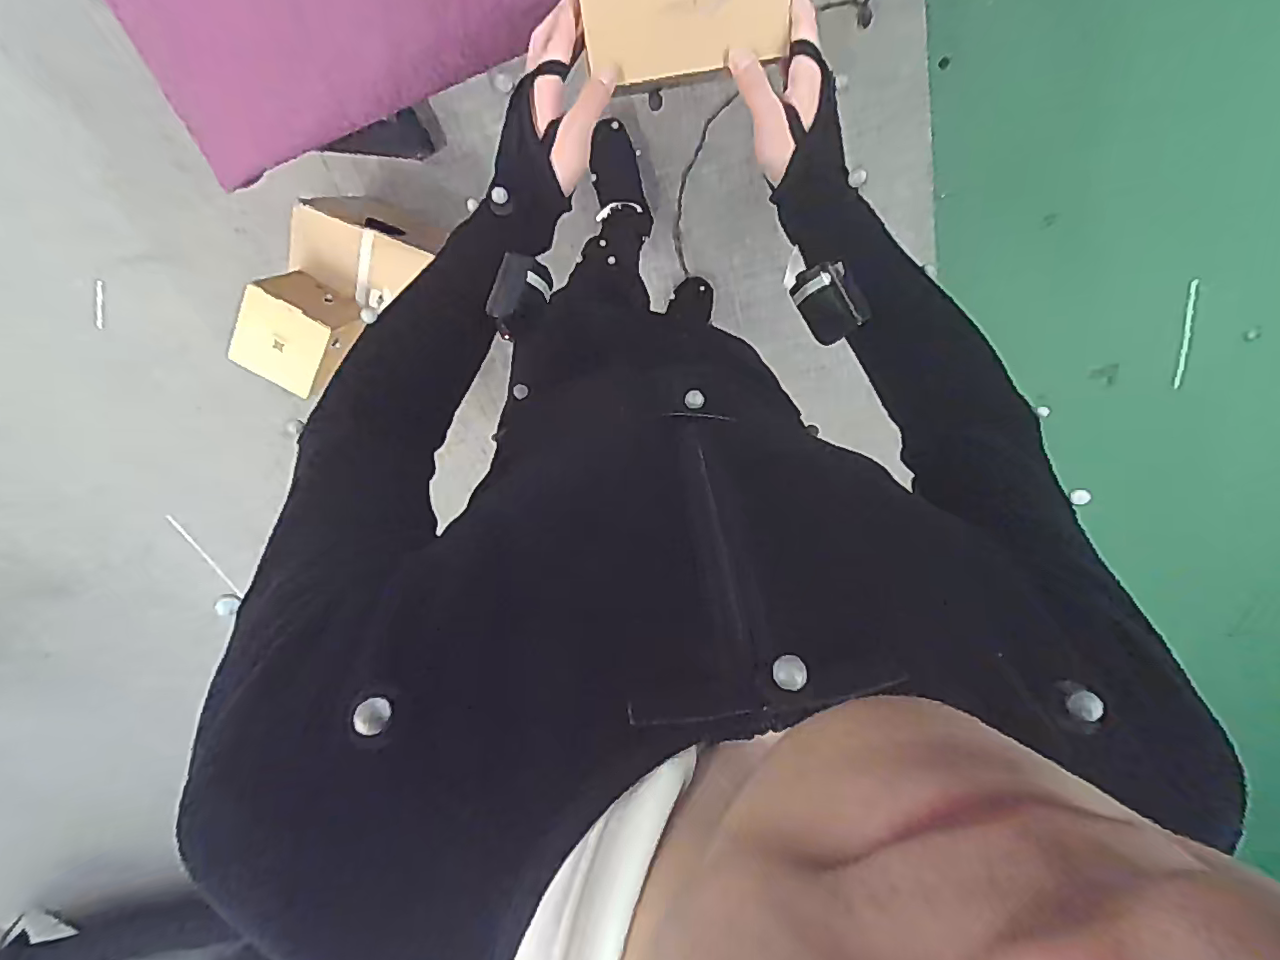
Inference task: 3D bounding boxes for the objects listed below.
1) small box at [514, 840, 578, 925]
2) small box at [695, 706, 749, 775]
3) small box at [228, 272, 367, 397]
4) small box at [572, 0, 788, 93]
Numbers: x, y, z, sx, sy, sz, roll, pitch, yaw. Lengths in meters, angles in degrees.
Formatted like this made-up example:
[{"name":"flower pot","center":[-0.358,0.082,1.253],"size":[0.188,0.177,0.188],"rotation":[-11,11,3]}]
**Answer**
[{"name":"small box","center":[-0.323,1.414,1.900],"size":[0.168,0.176,0.179],"rotation":[21,115,-10]},{"name":"small box","center":[0.324,1.042,2.169],"size":[0.179,0.176,0.168],"rotation":[-19,116,11]},{"name":"small box","center":[-0.709,-0.310,1.135],"size":[0.168,0.176,0.179],"rotation":[30,115,-13]},{"name":"small box","center":[0.020,-0.447,0.453],"size":[0.168,0.176,0.179],"rotation":[-9,123,1]}]
